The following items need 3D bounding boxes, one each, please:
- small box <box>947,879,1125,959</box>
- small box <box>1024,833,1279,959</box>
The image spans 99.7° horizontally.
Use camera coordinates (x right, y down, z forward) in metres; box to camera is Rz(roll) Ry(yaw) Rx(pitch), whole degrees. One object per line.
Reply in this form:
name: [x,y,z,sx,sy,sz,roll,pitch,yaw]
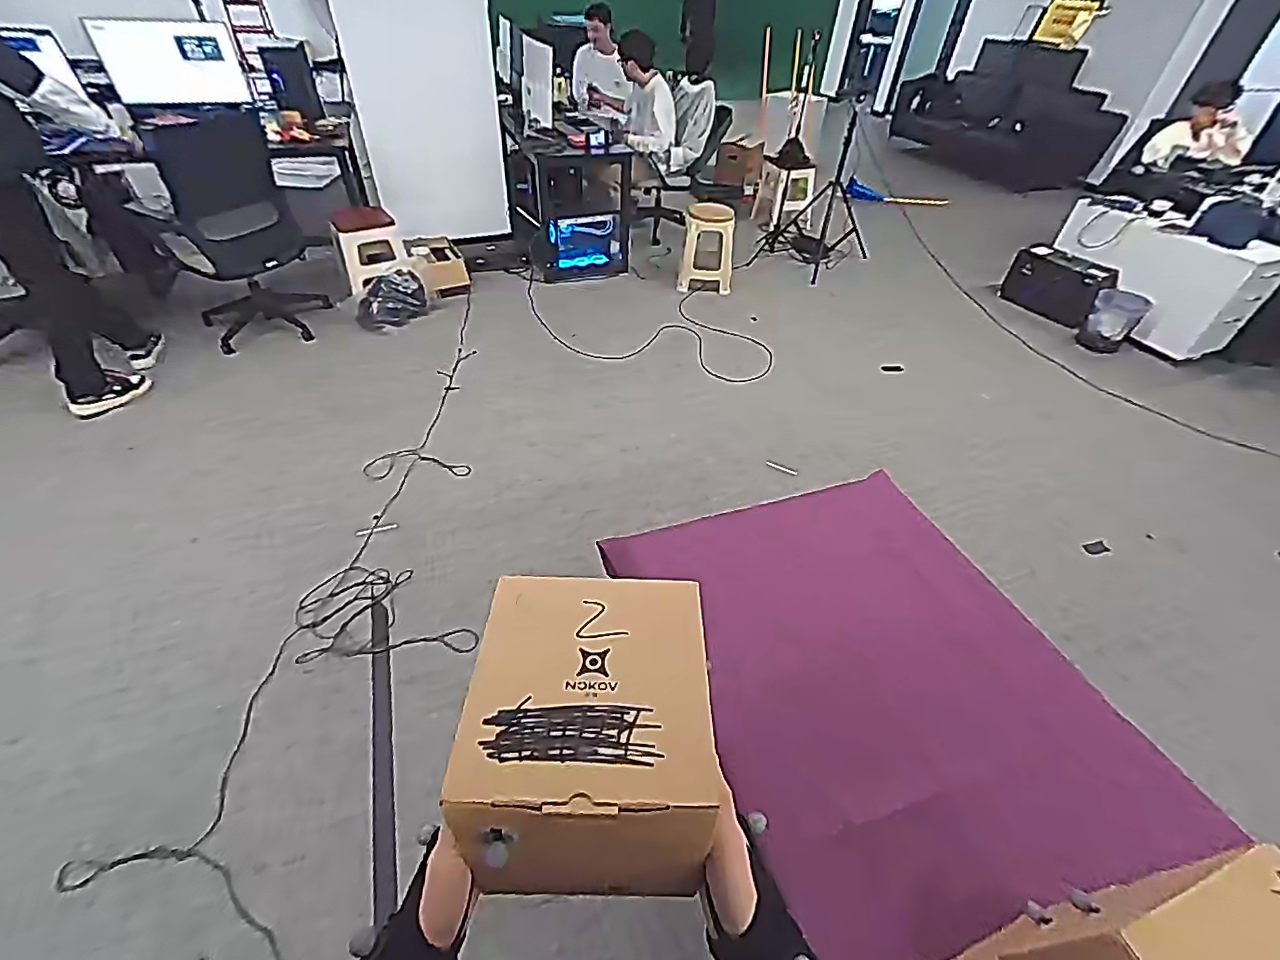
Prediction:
small box: [0.423,0.526,0.514,0.179,0.176,0.168,-12,45,-17]
small box: [0.436,0.406,0.403,0.179,0.176,0.168,-12,45,-16]
